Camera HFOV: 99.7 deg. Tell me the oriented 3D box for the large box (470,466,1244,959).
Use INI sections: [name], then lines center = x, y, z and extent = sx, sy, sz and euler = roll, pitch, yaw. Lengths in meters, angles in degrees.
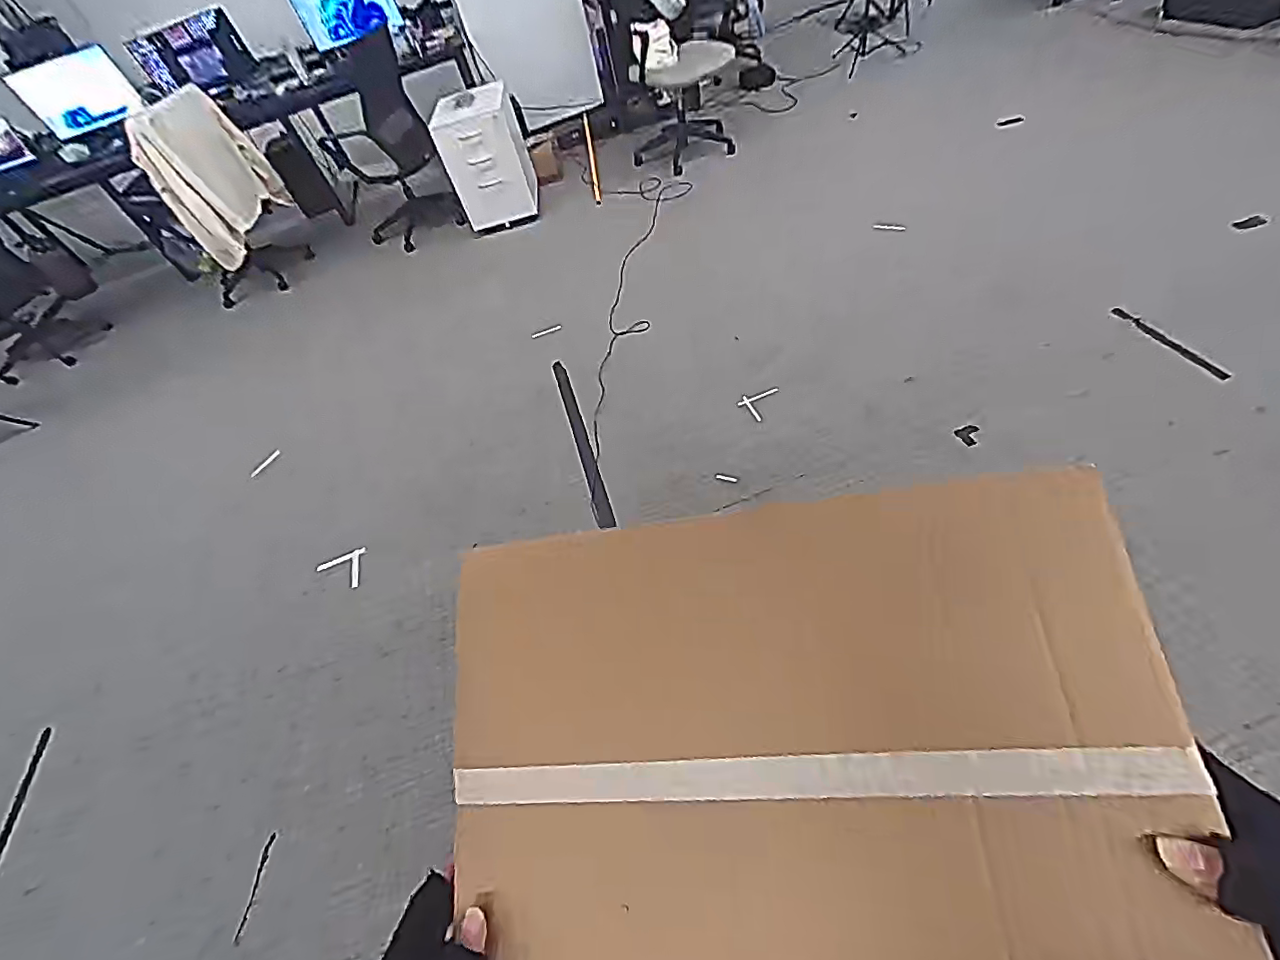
[large box]
center = 0.118, 0.211, 0.454
extent = 0.408, 0.320, 0.320
euler = -10, 72, 15
